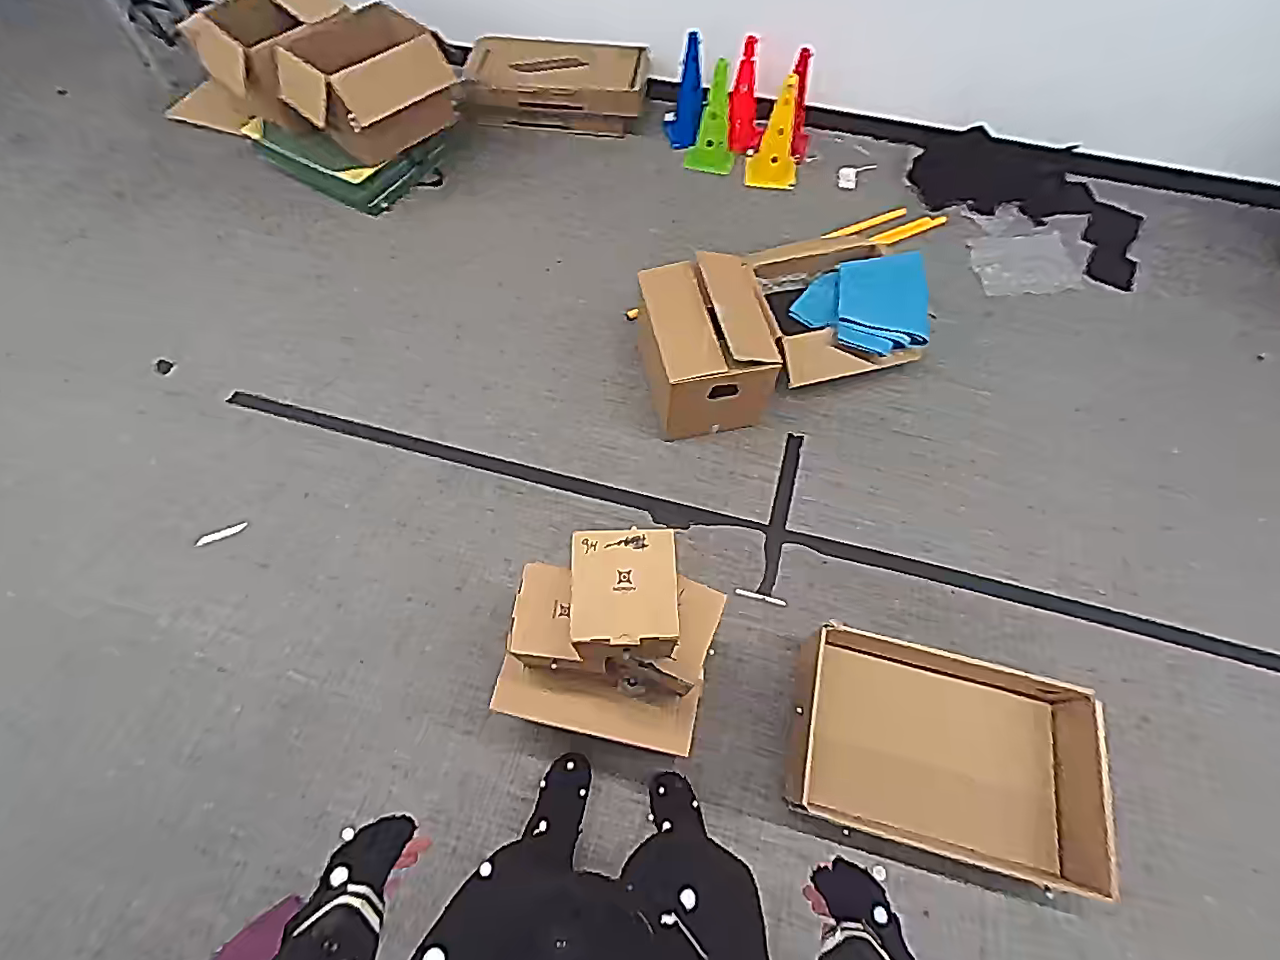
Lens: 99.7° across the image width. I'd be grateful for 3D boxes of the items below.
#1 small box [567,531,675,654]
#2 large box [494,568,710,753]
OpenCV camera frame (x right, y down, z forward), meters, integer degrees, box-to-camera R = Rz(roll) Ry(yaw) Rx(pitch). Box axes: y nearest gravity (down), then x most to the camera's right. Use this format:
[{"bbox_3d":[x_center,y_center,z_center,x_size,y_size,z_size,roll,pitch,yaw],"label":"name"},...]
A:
[{"bbox_3d":[-0.029,0.196,0.910,0.168,0.176,0.179,-1,65,-1],"label":"small box"},{"bbox_3d":[-0.075,0.424,1.250,0.408,0.320,0.320,11,65,3],"label":"large box"}]
